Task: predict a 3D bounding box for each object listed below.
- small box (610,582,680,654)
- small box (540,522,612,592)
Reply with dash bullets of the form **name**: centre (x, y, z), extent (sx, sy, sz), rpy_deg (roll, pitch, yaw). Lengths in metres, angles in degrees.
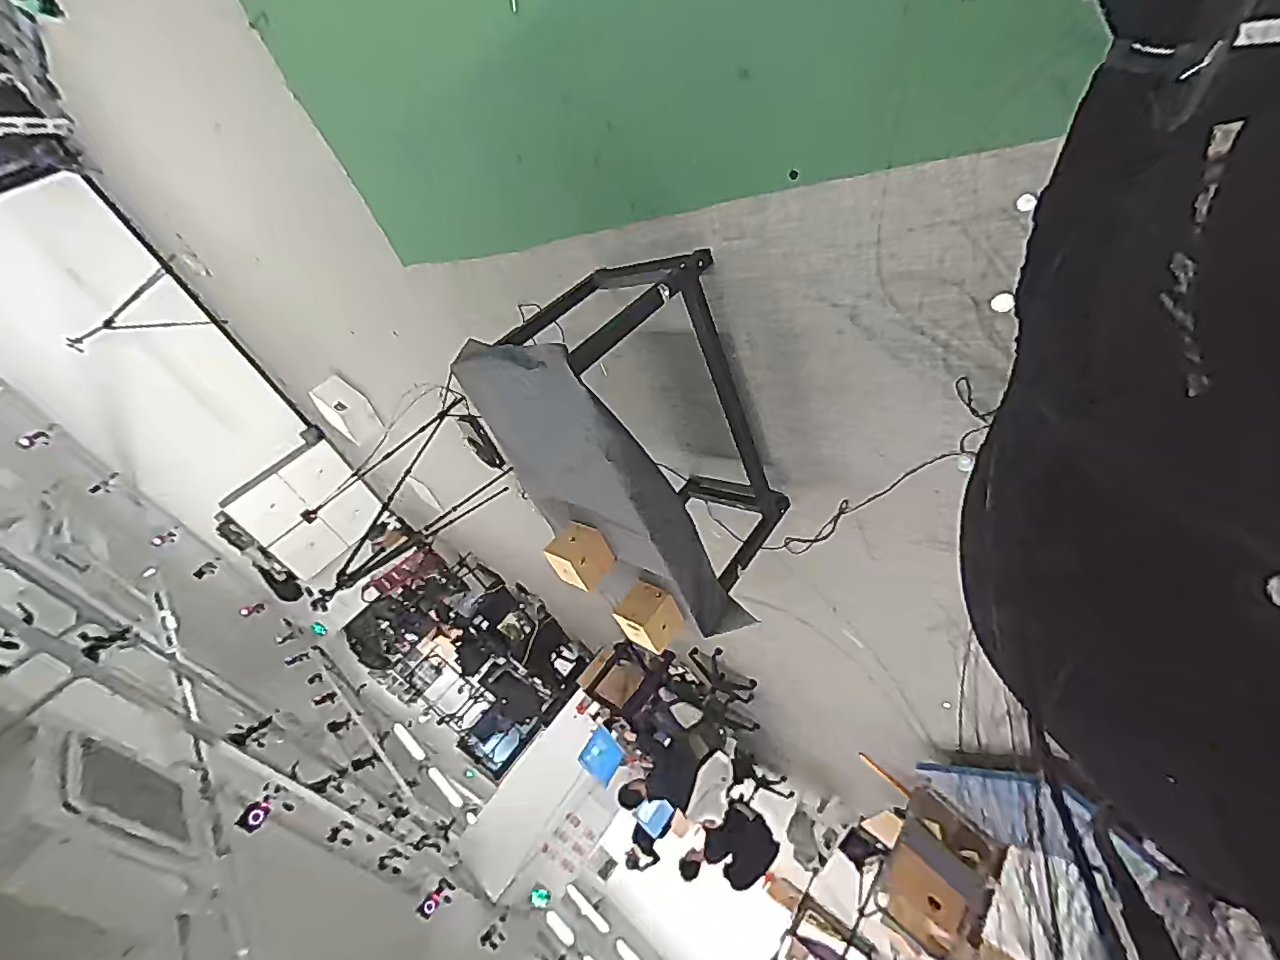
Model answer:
- **small box**: centre (0.023, 0.510, 2.021), extent (0.168, 0.176, 0.179), rpy_deg (13, 141, 44)
- **small box**: centre (-0.237, 0.284, 2.044), extent (0.168, 0.176, 0.179), rpy_deg (14, 140, 42)
